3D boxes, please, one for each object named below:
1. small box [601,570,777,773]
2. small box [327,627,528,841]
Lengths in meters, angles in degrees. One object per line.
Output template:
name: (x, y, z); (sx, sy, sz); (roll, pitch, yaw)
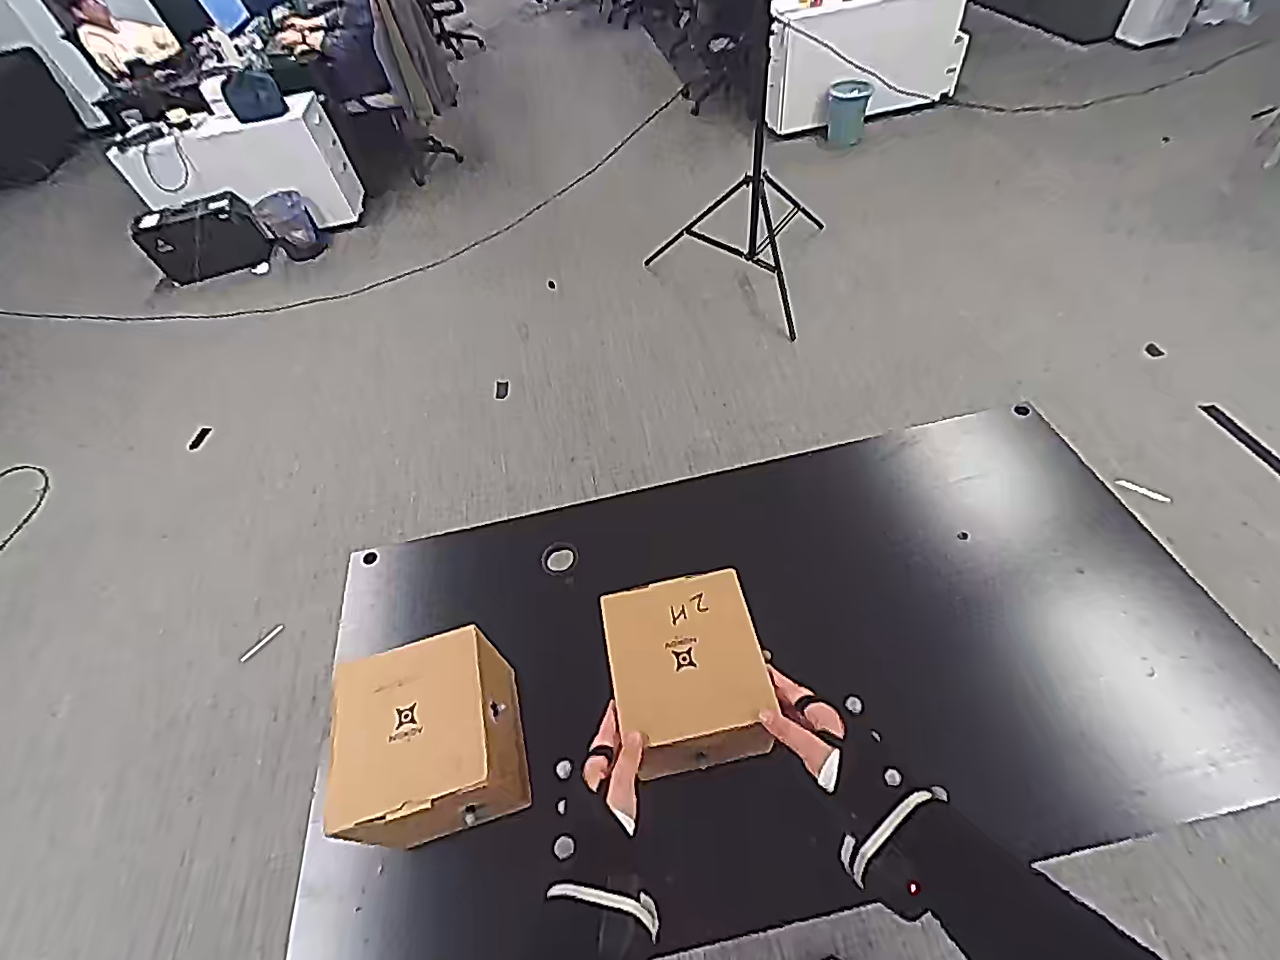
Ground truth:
small box: (0.056, 0.238, 0.653); (0.168, 0.176, 0.179); (-12, 52, -1)
small box: (-0.241, 0.308, 0.645); (0.168, 0.176, 0.179); (-16, 51, -6)
